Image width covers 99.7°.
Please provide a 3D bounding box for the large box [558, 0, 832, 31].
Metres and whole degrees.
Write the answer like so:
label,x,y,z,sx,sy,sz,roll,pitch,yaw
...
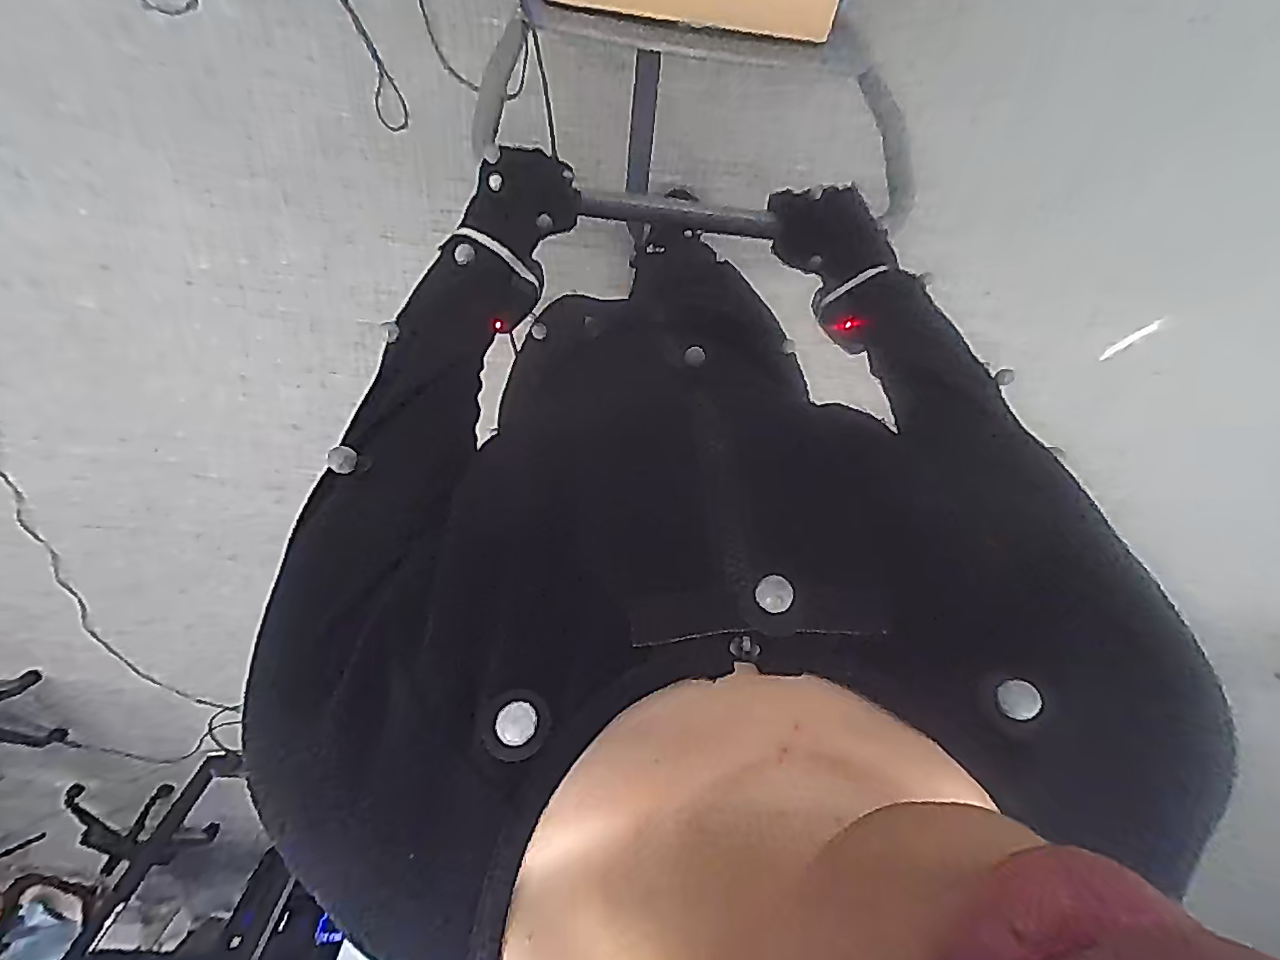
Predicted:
label,x,y,z,sx,sy,sz,roll,pitch,yaw
large box,0.080,-0.867,0.738,0.408,0.320,0.320,4,142,-4
